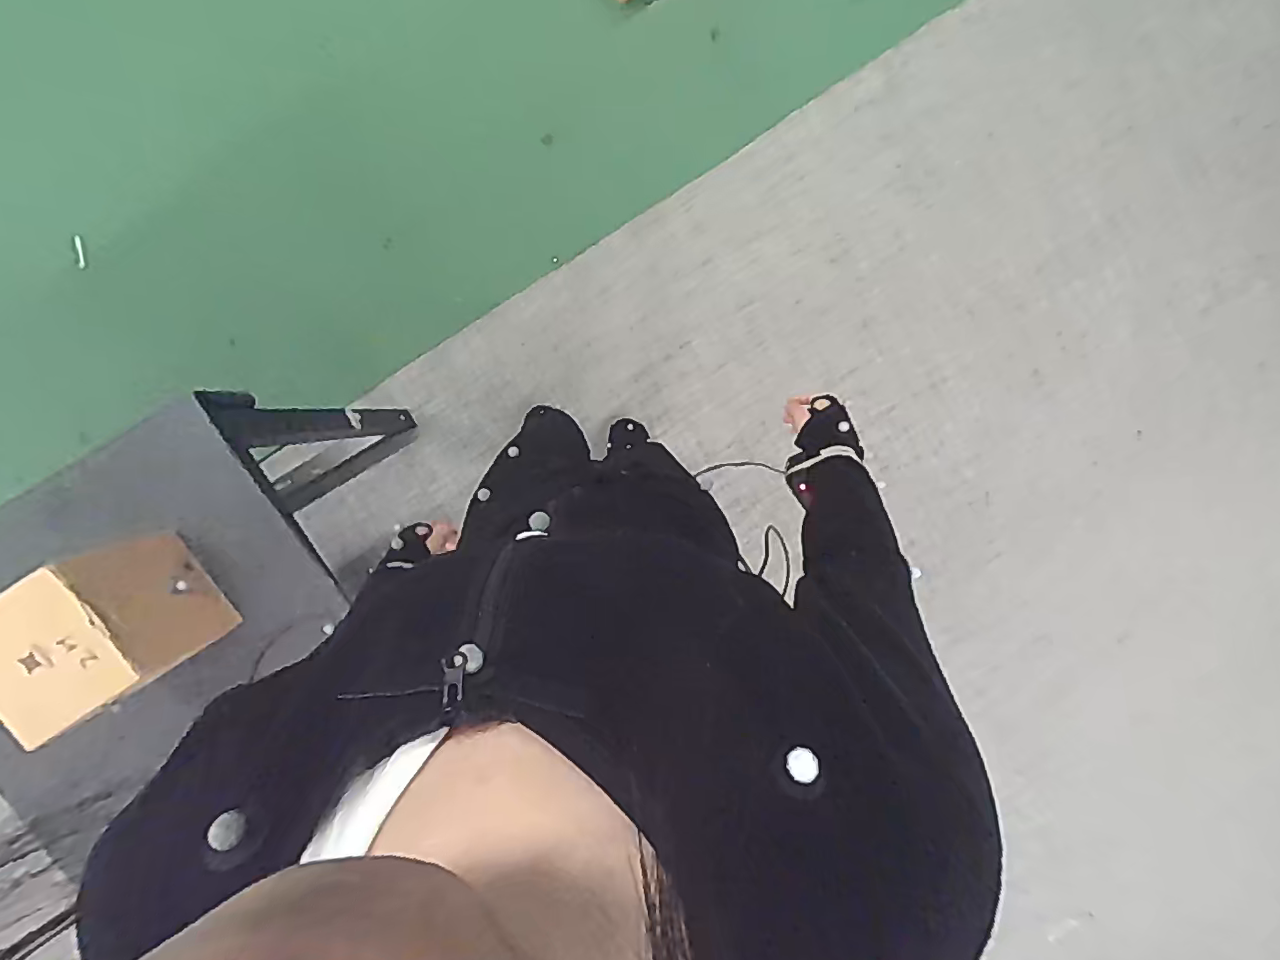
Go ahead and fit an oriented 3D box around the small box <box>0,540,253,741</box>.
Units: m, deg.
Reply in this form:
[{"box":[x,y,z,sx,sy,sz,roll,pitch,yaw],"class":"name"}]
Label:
[{"box":[-0.685,0.202,0.727,0.179,0.176,0.168,-30,95,0],"class":"small box"}]
